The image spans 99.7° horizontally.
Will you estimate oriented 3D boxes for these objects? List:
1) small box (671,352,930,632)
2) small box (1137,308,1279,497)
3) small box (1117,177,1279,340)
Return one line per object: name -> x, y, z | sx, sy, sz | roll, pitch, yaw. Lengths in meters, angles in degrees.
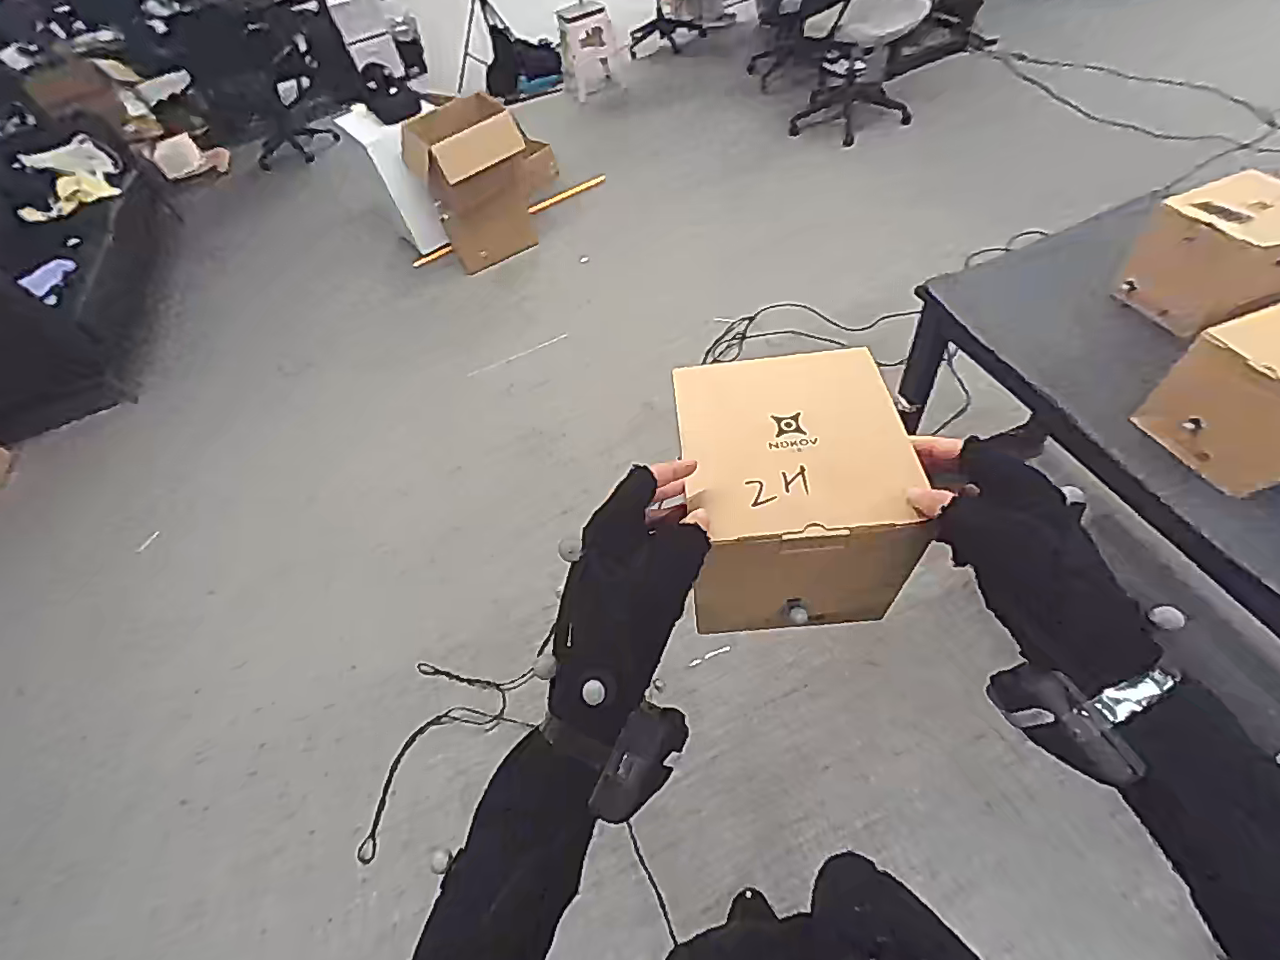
small box -> 0.118, 0.015, 0.477 | 0.168, 0.176, 0.179 | -7, 53, 4
small box -> 0.842, -0.106, 0.723 | 0.179, 0.176, 0.168 | -20, 52, -4
small box -> 0.949, -0.360, 0.891 | 0.179, 0.176, 0.168 | -20, 52, -4
